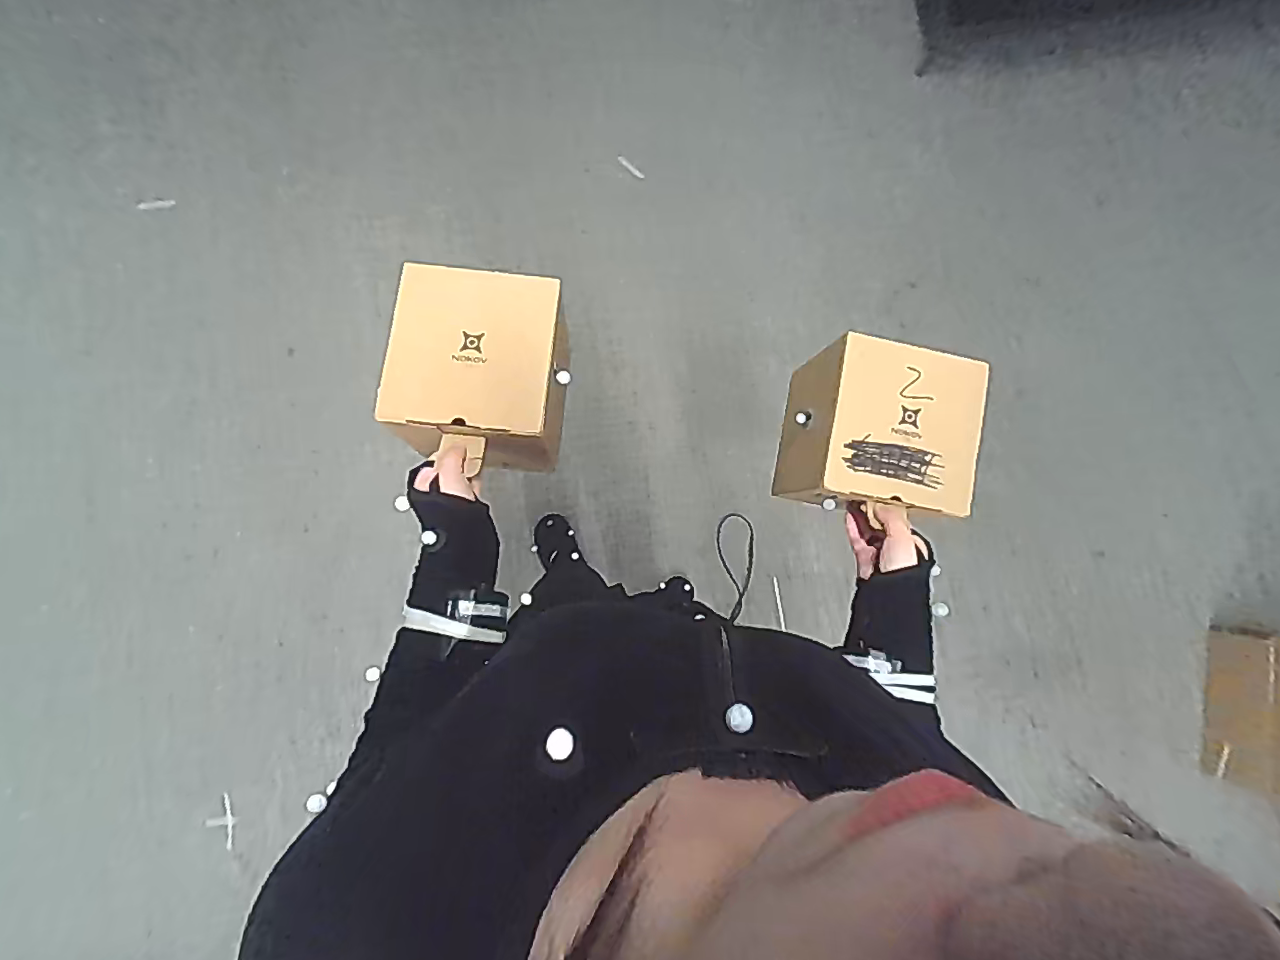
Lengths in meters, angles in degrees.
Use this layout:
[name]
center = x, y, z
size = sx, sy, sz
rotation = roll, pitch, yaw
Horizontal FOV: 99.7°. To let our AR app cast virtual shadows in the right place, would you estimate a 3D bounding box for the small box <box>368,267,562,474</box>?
[small box]
center = -0.184, -0.114, 0.625
size = 0.168, 0.176, 0.179
rotation = 5, 79, -3
